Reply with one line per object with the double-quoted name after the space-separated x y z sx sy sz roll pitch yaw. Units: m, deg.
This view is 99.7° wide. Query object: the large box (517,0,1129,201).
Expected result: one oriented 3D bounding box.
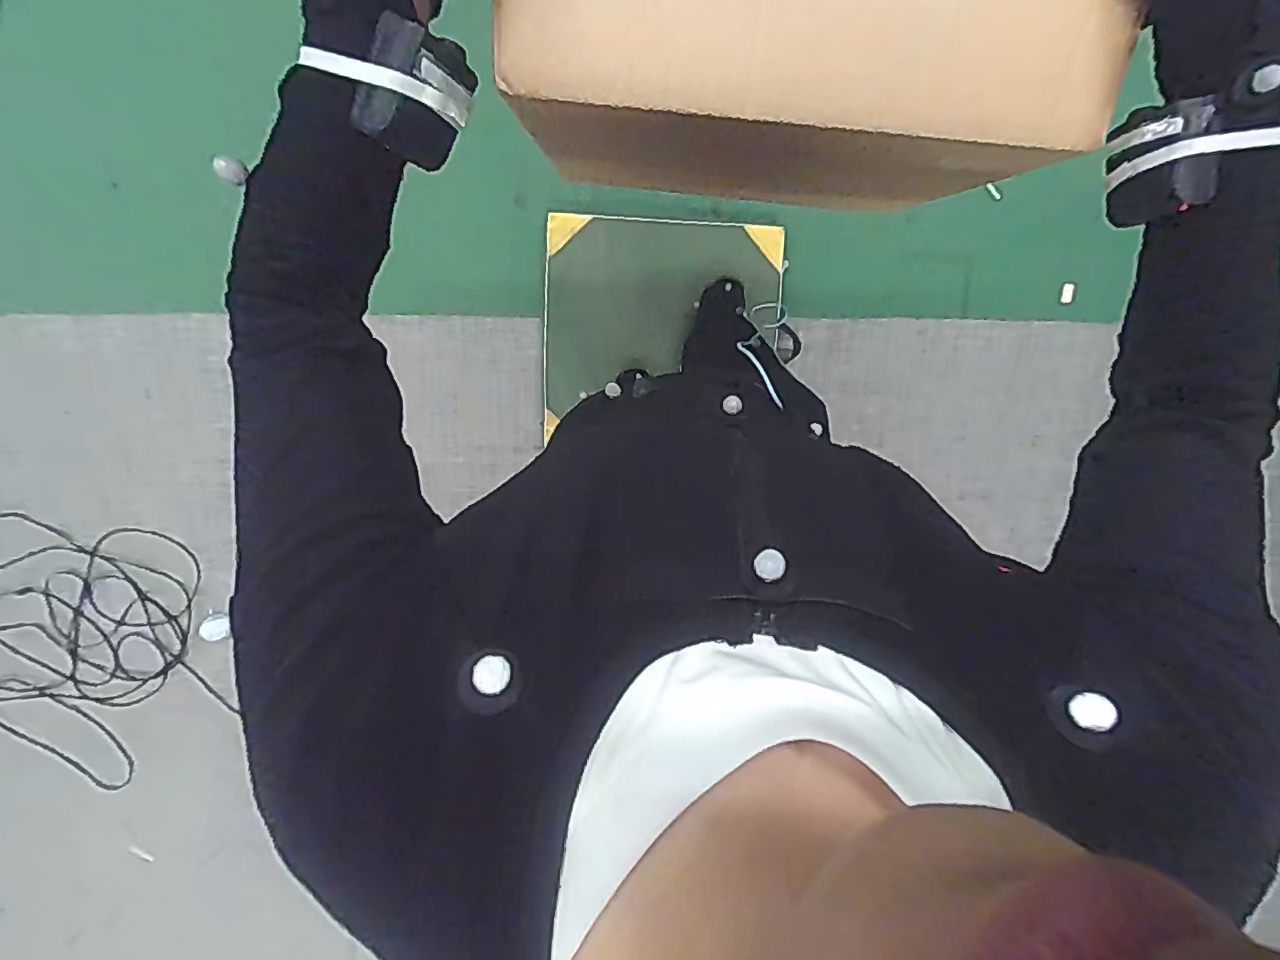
0.121 -0.443 0.459 0.408 0.320 0.320 4 110 -3 "large box"
